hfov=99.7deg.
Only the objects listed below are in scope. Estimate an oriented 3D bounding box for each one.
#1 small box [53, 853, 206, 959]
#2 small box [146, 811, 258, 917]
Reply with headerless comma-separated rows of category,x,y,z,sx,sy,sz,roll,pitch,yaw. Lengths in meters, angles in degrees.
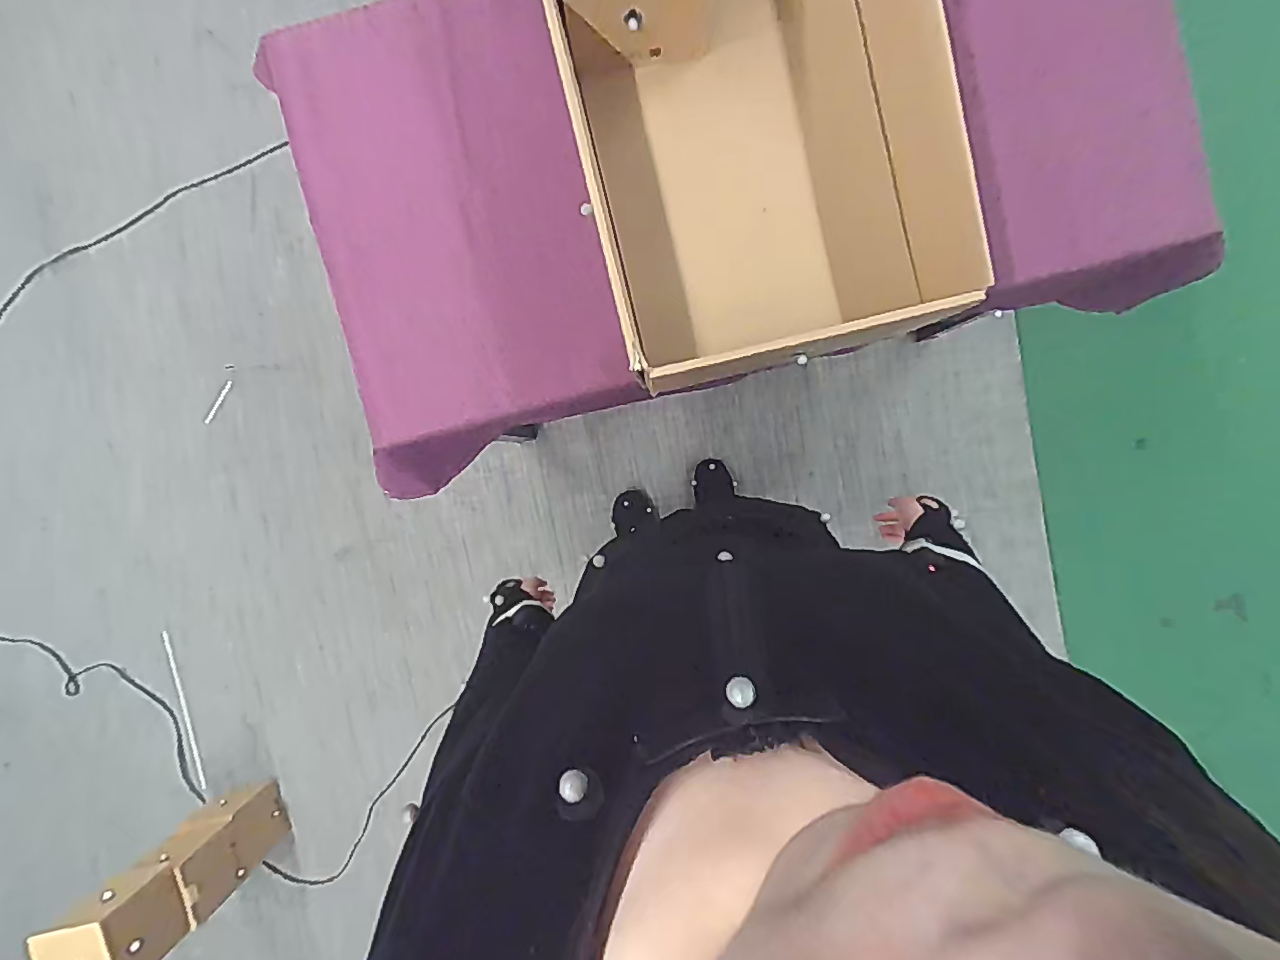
small box,-1.150,0.991,1.231,0.168,0.176,0.179,-14,94,4
small box,-1.132,0.992,1.394,0.179,0.176,0.168,-14,92,5
